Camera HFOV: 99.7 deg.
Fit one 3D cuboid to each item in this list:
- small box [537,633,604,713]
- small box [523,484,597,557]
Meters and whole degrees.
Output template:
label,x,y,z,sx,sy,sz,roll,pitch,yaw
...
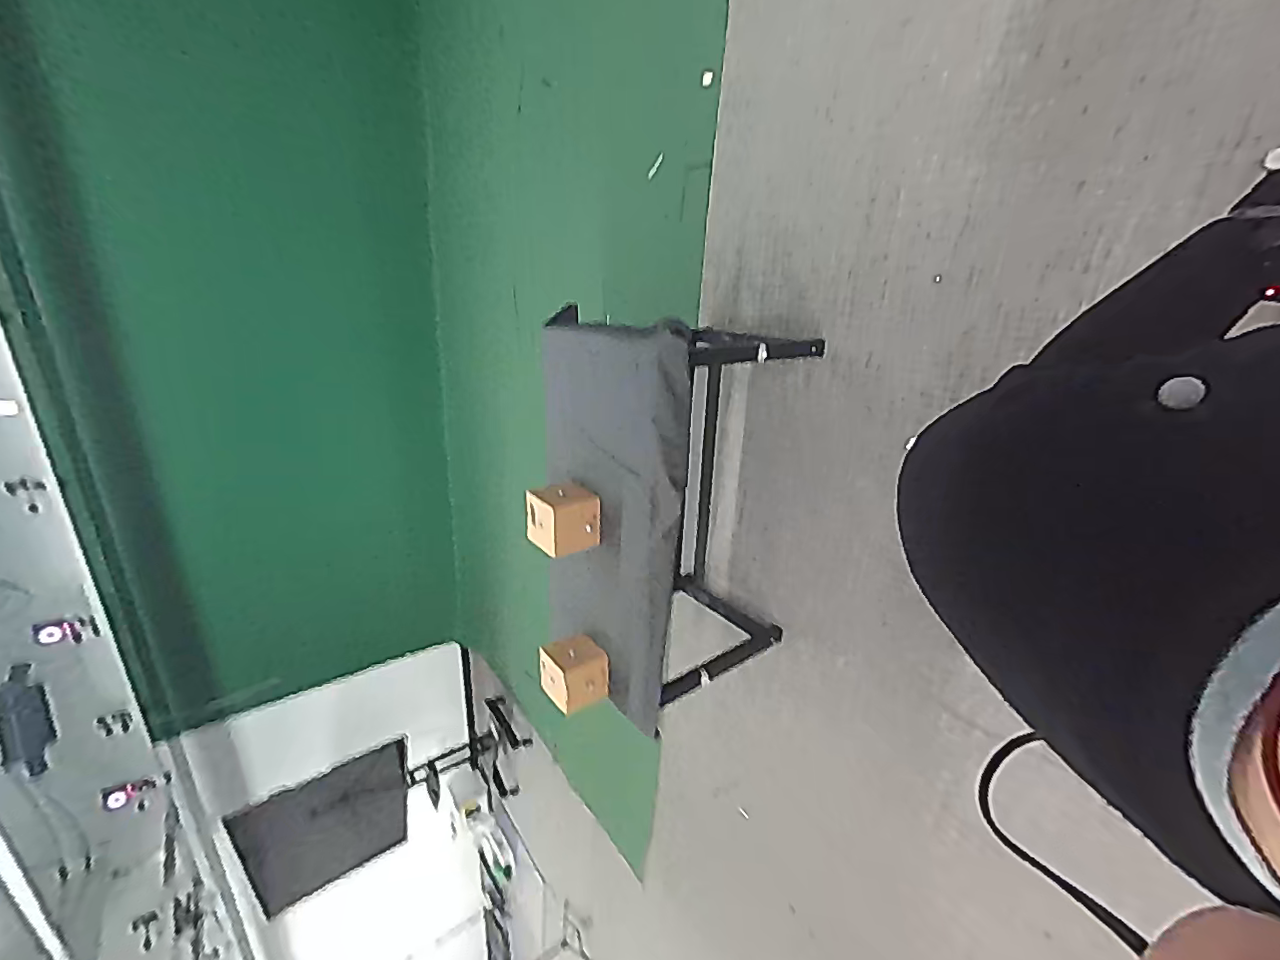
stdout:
label,x,y,z,sx,sy,sz,roll,pitch,yaw
small box,-0.234,0.652,1.850,0.179,0.176,0.168,21,117,47
small box,-0.253,0.119,1.709,0.179,0.176,0.168,24,119,46
